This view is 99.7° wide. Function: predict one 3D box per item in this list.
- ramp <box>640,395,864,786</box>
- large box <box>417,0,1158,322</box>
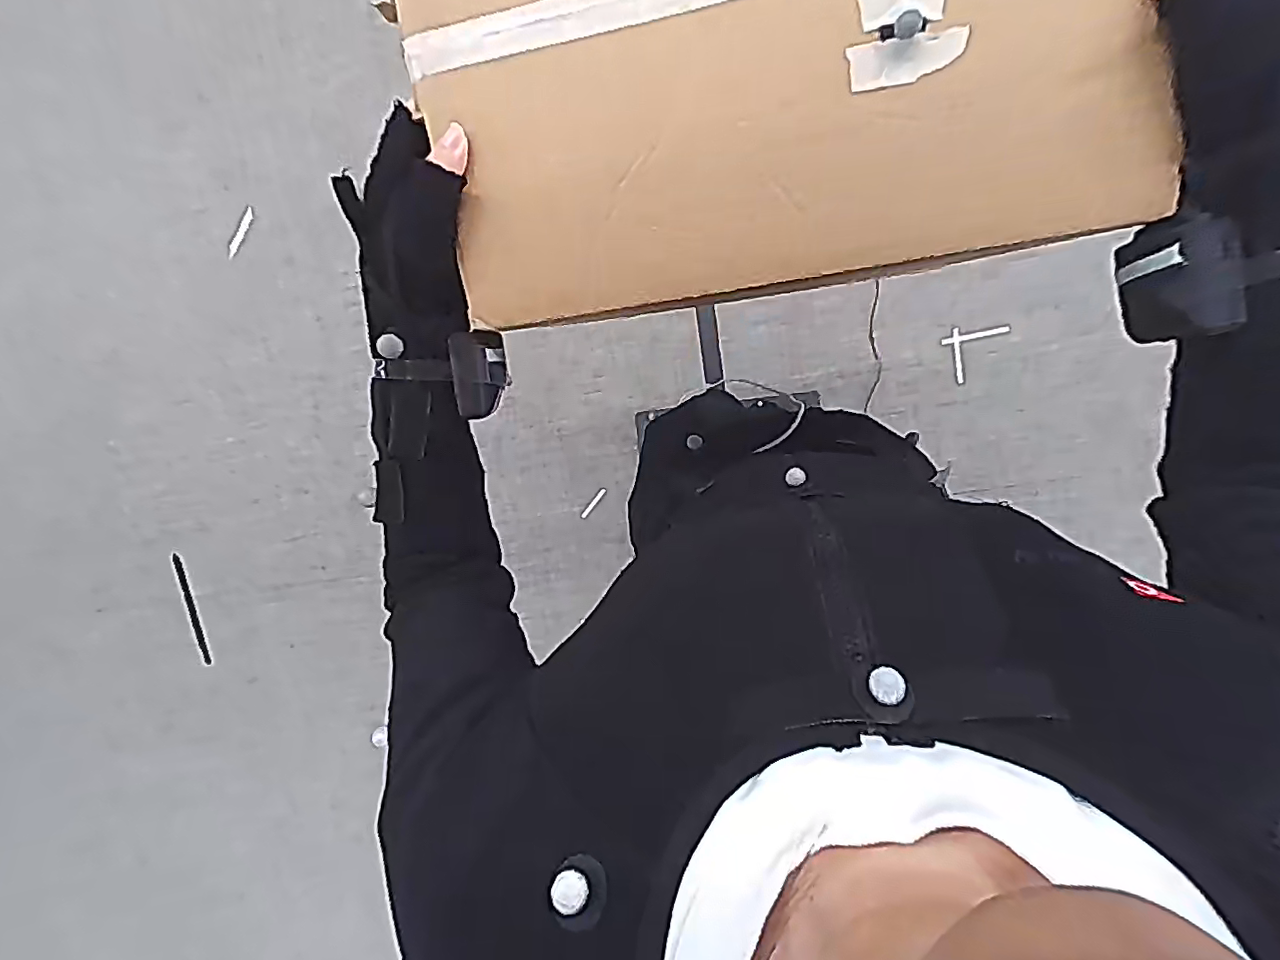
[{"bbox_3d":[0.280,0.294,1.435,0.509,0.206,0.991,-7,96,11],"label":"ramp"},{"bbox_3d":[0.082,-0.321,0.440,0.408,0.320,0.320,-7,106,9],"label":"large box"}]
